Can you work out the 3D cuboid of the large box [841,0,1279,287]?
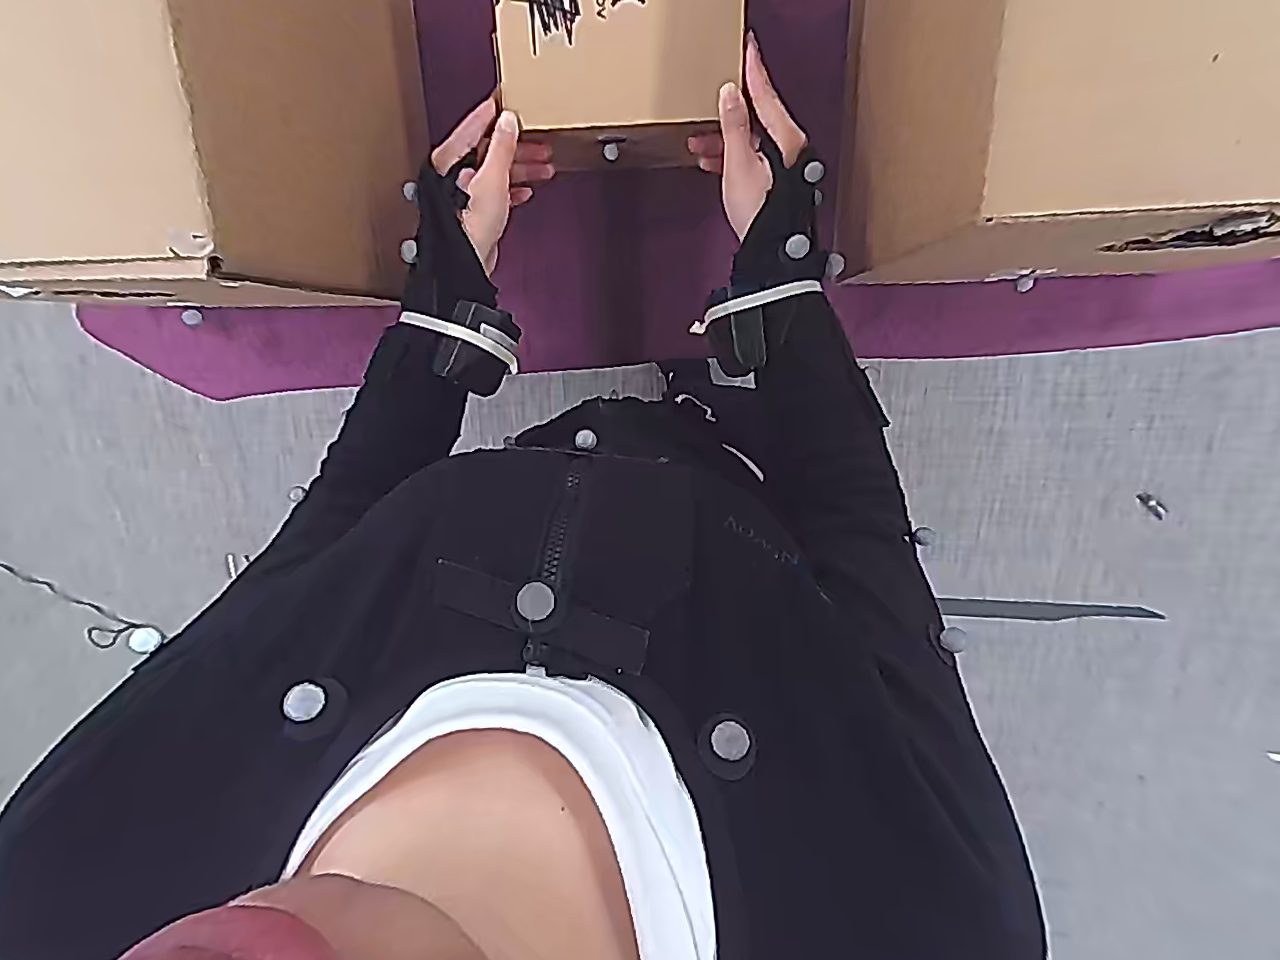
[{"bbox_3d":[0.321,-0.353,0.332,0.320,0.320,0.408,-1,103,6],"label":"large box"}]
